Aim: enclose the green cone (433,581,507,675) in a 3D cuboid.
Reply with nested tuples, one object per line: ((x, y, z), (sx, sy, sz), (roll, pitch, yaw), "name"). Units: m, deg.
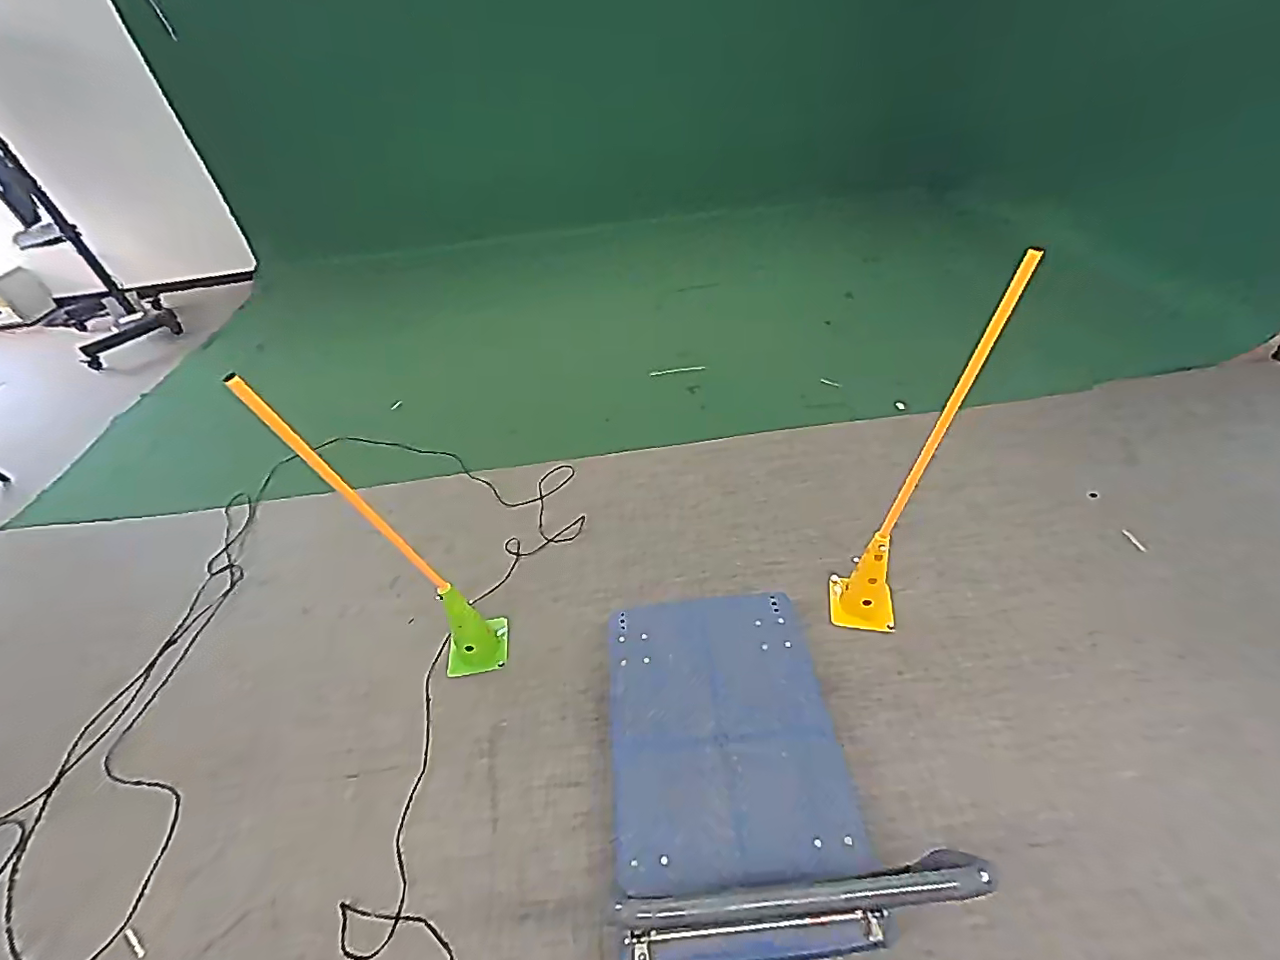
((-0.584, 0.448, 1.769), (0.202, 0.368, 0.200), (-12, 43, -2), "green cone")
